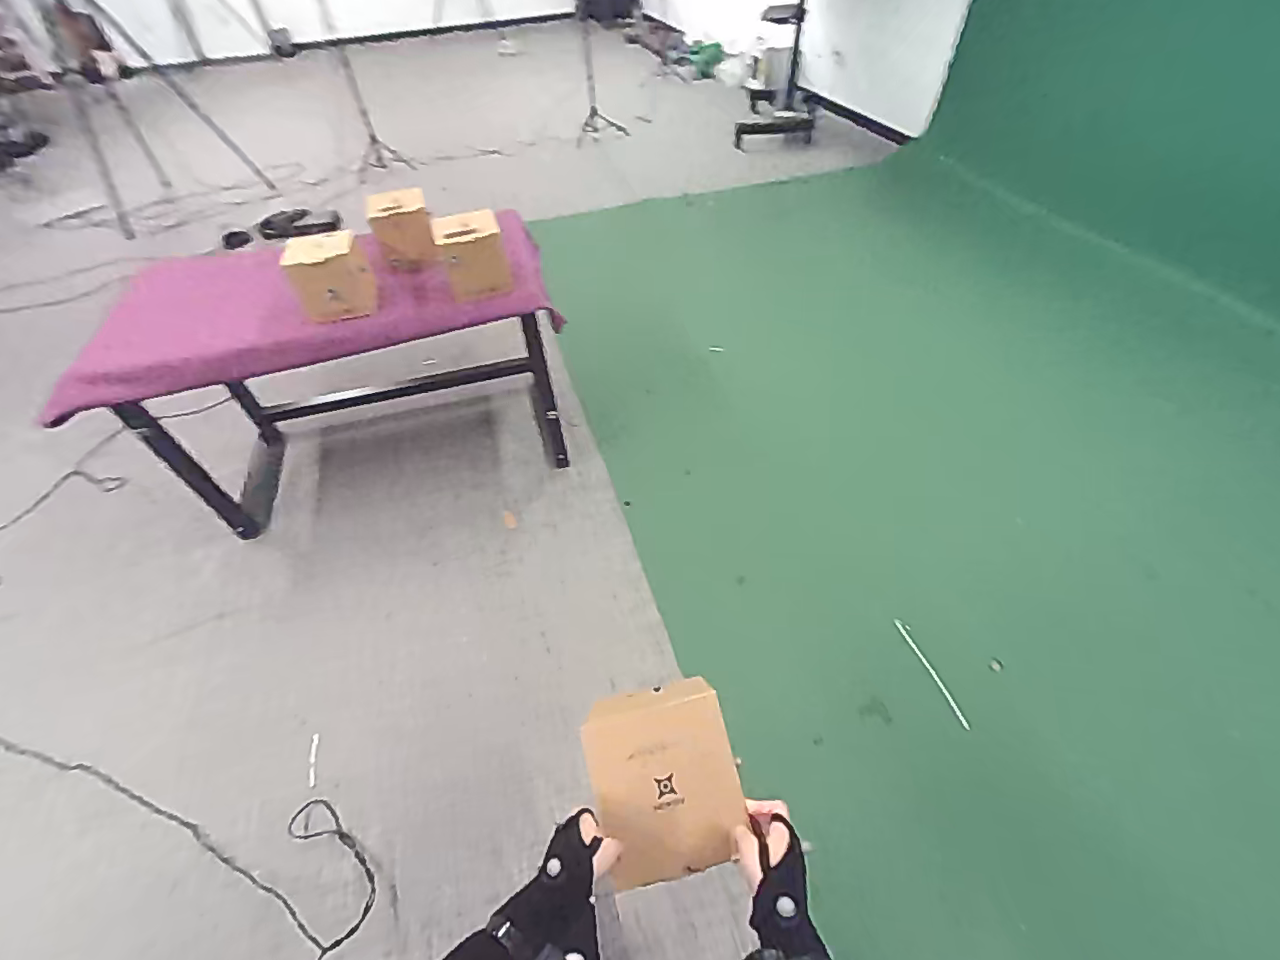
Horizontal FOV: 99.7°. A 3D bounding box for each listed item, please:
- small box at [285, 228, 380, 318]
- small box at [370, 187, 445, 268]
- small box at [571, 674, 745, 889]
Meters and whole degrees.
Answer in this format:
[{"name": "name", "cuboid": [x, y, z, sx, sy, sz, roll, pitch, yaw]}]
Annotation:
[{"name": "small box", "cuboid": [-0.826, -0.557, 1.472, 0.168, 0.176, 0.179, -13, 48, -9]}, {"name": "small box", "cuboid": [-0.706, -0.766, 1.654, 0.168, 0.176, 0.179, -15, 48, -10]}, {"name": "small box", "cuboid": [0.017, 0.358, 0.679, 0.168, 0.176, 0.179, -13, 77, -5]}]
